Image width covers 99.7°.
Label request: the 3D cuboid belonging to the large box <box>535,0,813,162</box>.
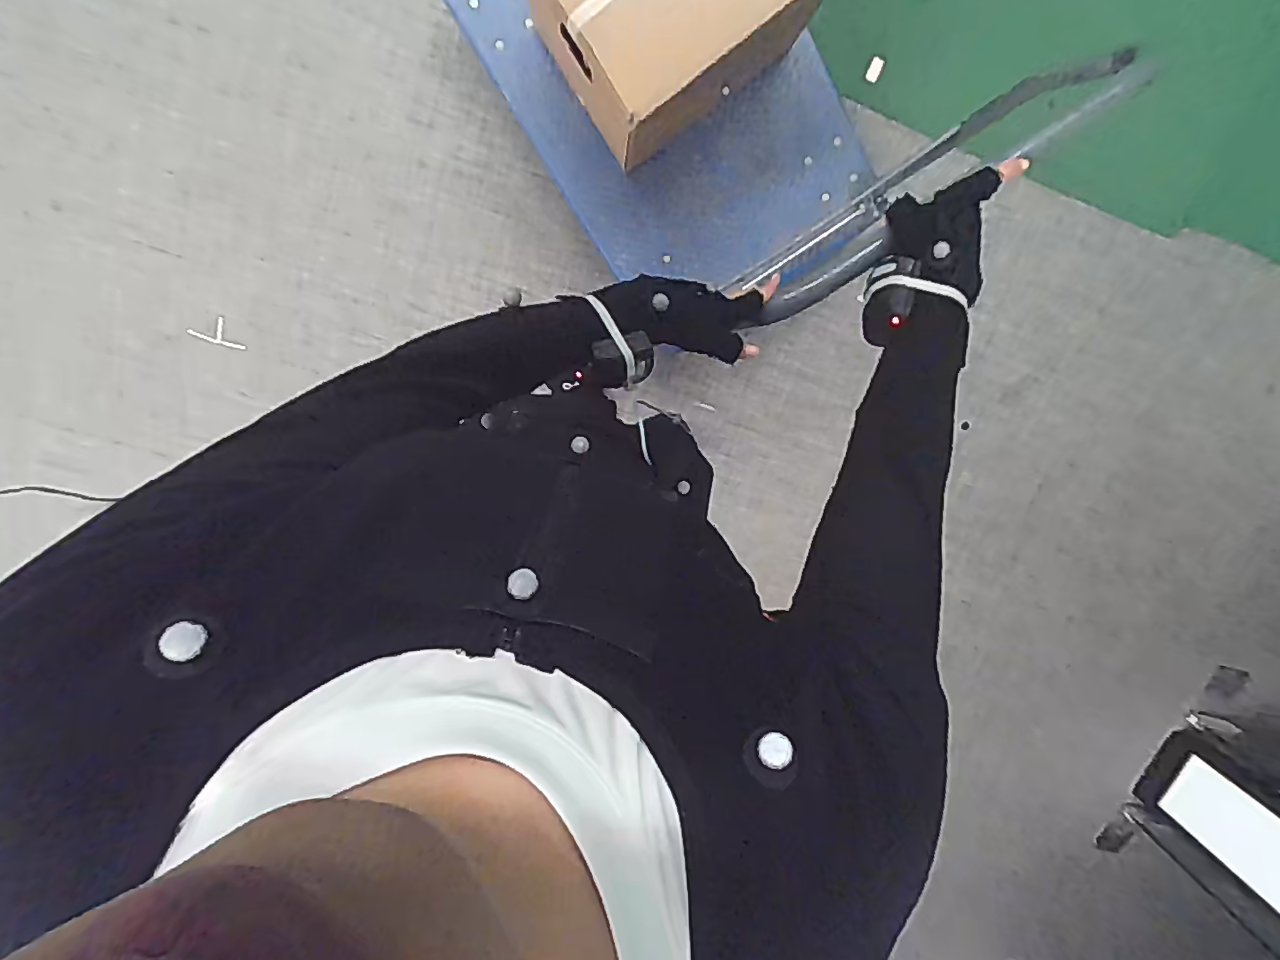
[{"bbox_3d":[0.063,-0.833,0.908,0.408,0.320,0.320,-34,106,8],"label":"large box"}]
